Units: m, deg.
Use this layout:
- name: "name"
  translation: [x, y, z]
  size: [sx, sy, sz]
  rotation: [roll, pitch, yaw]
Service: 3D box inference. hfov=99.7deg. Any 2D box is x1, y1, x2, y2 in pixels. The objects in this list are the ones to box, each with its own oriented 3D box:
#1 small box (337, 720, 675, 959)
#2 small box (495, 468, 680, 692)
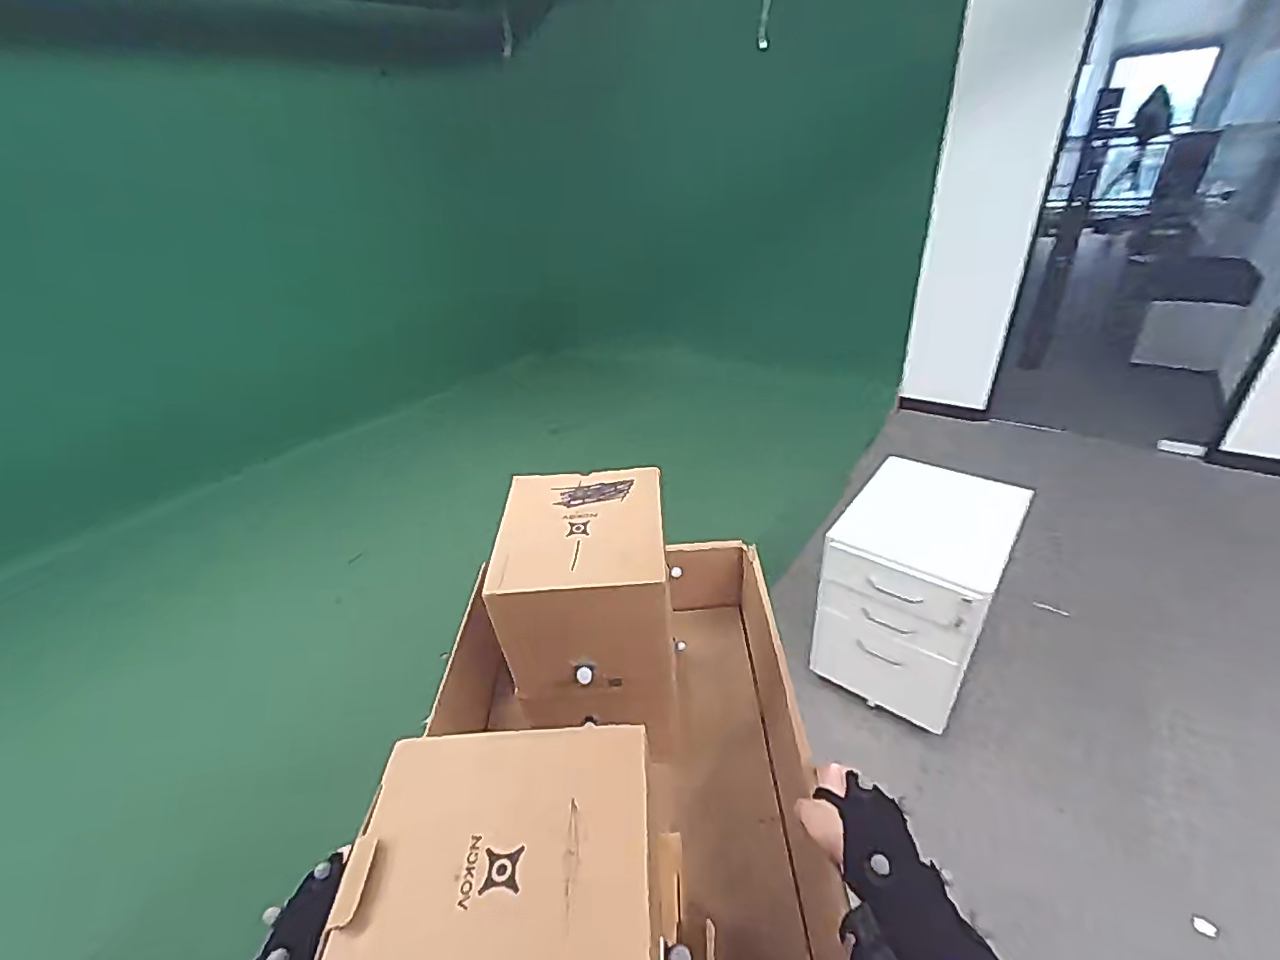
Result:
- name: "small box"
  translation: [-0.068, 0.285, 0.361]
  size: [0.179, 0.176, 0.168]
  rotation: [-3, 37, 1]
- name: "small box"
  translation: [-0.043, 0.107, 0.593]
  size: [0.168, 0.176, 0.179]
  rotation: [-4, 38, 3]
